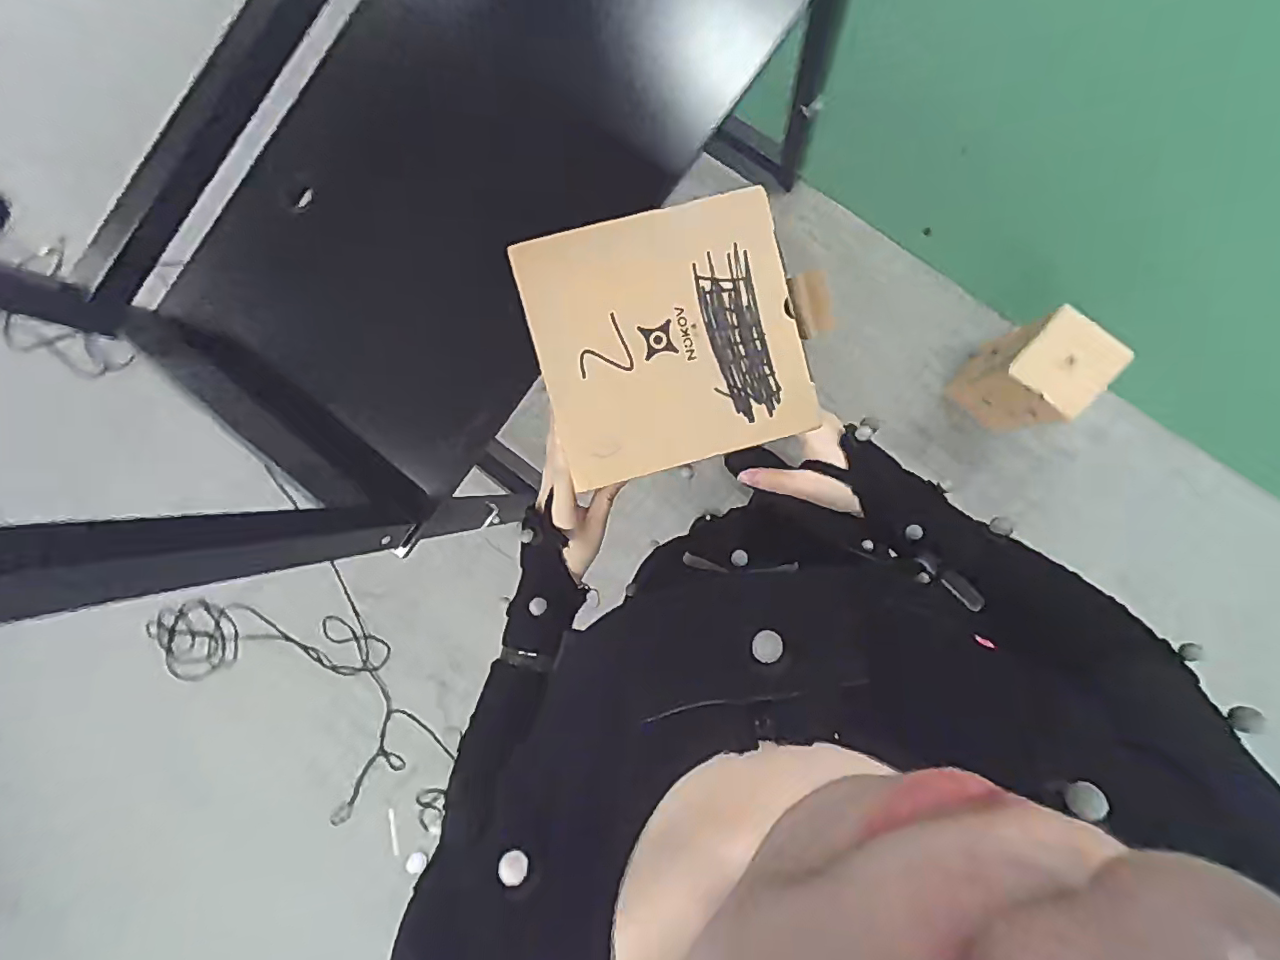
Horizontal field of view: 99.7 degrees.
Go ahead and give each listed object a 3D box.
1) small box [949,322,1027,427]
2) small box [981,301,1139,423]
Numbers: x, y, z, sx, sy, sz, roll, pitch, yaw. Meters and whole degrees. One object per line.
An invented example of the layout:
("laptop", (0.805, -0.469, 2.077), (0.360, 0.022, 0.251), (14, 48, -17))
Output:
("small box", (0.894, -0.243, 1.301), (0.179, 0.176, 0.168), (41, 96, 5))
("small box", (0.865, -0.237, 1.142), (0.168, 0.176, 0.179), (40, 95, 5))
